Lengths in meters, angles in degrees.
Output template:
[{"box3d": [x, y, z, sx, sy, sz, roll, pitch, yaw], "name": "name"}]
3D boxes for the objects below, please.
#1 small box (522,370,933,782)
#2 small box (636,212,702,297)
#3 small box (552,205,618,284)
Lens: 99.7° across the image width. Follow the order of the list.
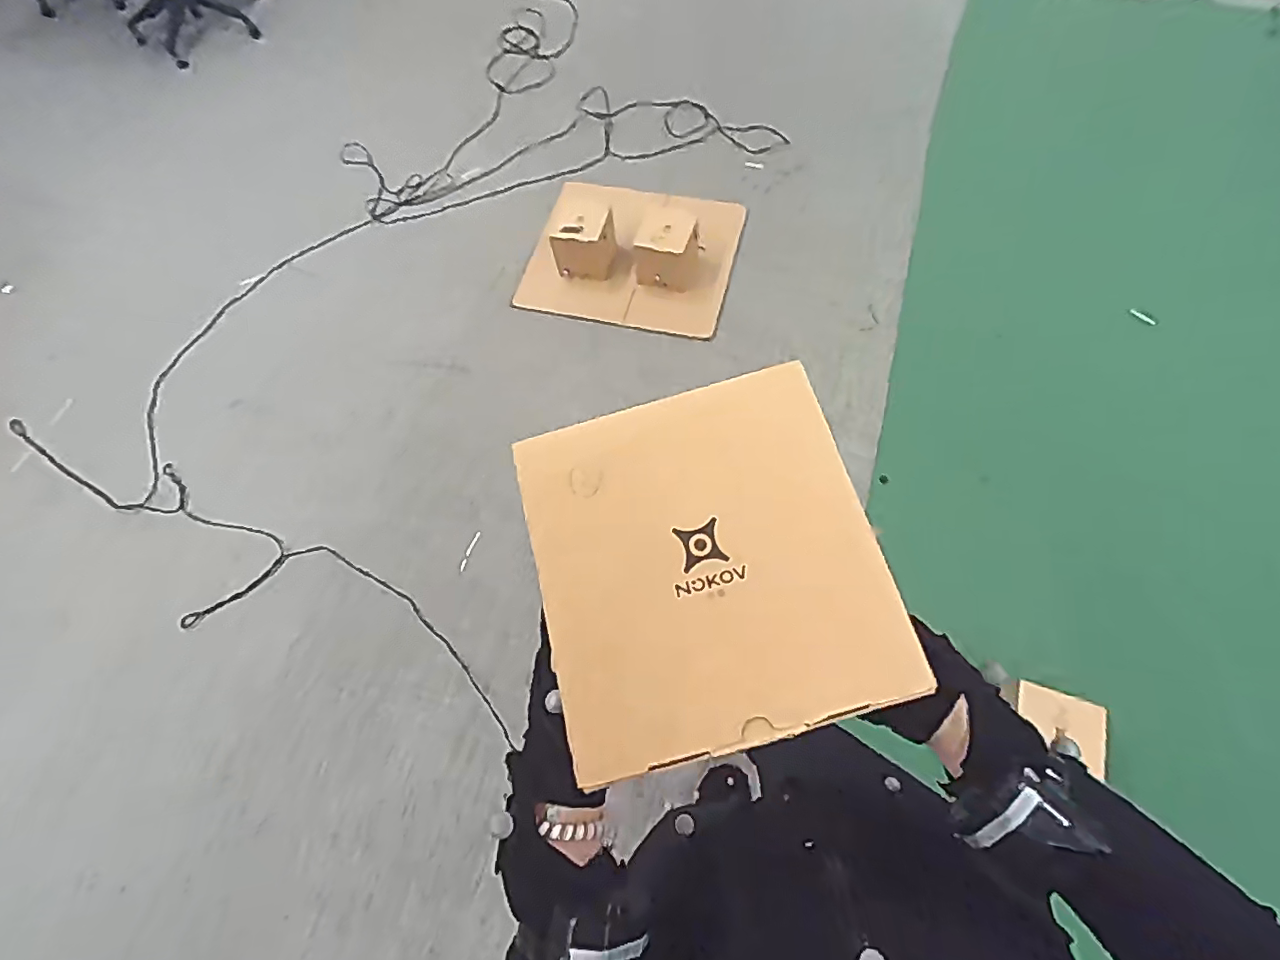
[{"box3d": [0.039, 0.063, 0.345, 0.168, 0.176, 0.179, -16, 71, 0], "name": "small box"}, {"box3d": [0.096, -0.736, 1.774, 0.168, 0.176, 0.179, 17, 69, 13], "name": "small box"}, {"box3d": [-0.177, -0.785, 1.814, 0.168, 0.176, 0.179, 11, 67, 9], "name": "small box"}]
